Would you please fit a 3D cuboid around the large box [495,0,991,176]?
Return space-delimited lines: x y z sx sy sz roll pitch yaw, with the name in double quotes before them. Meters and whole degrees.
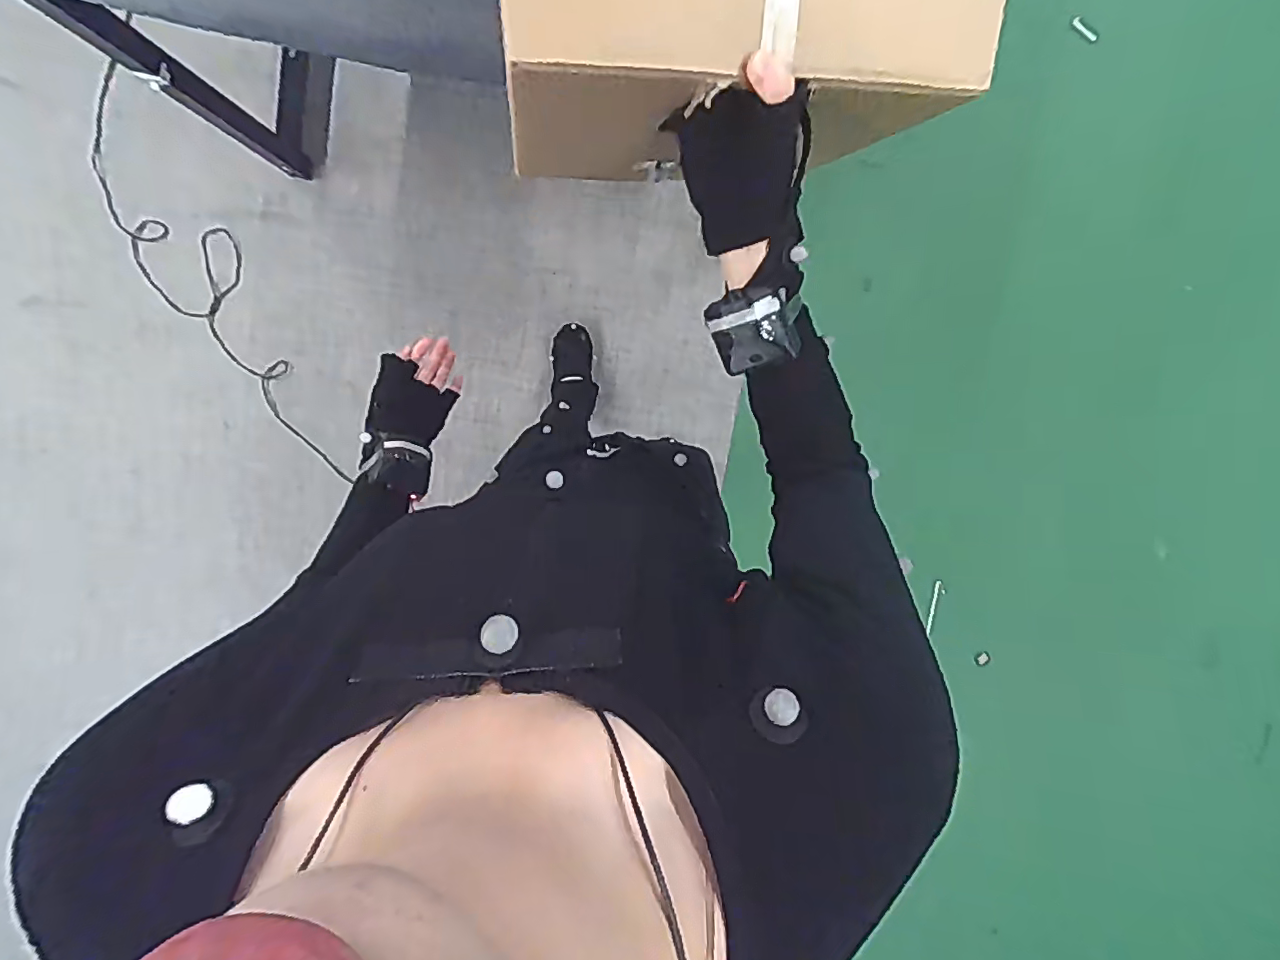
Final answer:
"large box" 0.042 -0.486 0.410 0.320 0.320 0.408 -4 108 -10
